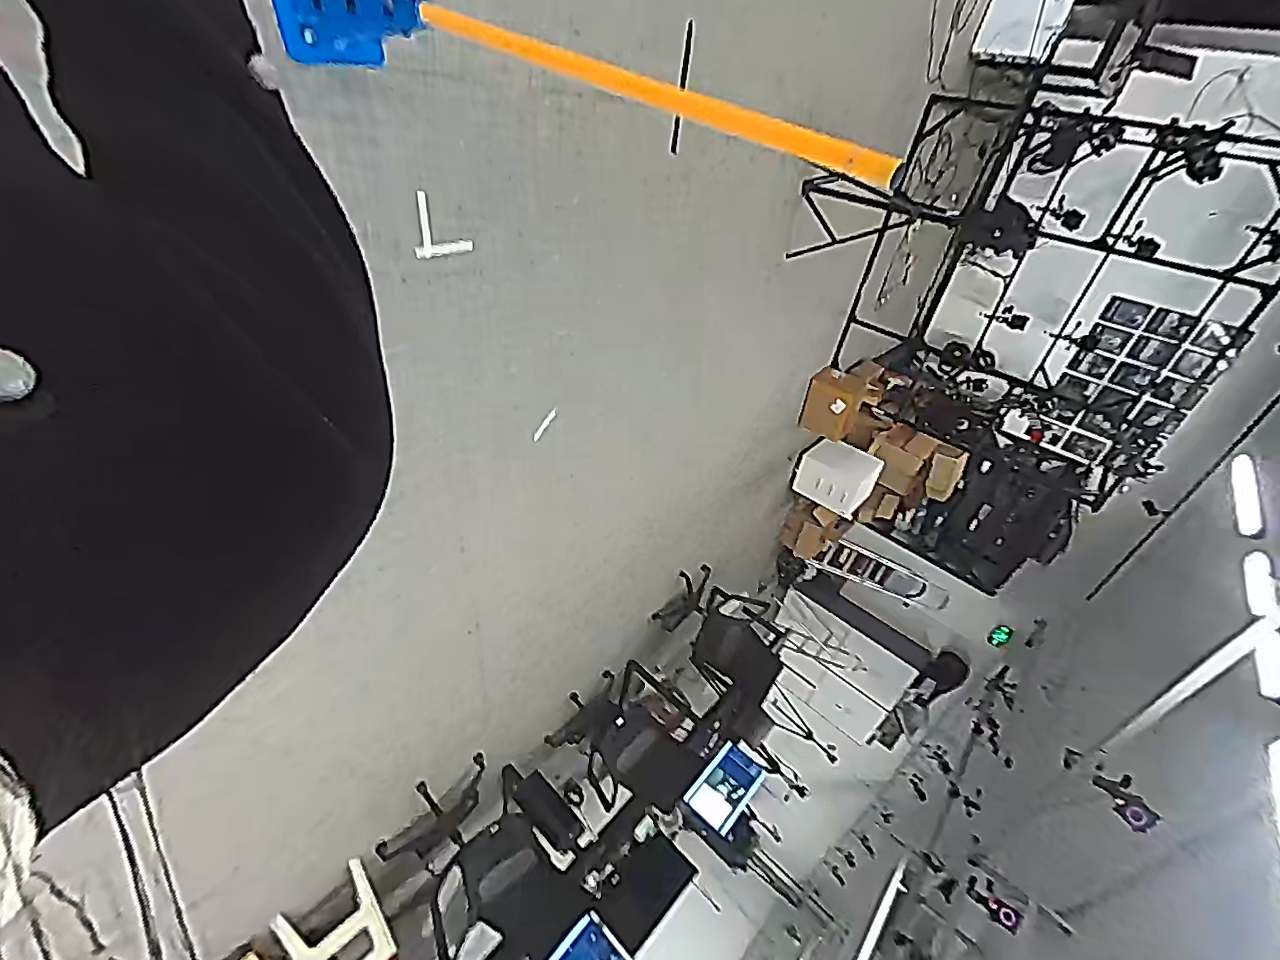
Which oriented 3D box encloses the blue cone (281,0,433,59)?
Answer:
[{"bbox_3d":[-0.488,-0.869,0.976,0.193,0.380,0.192,-32,142,-38],"label":"blue cone"}]
